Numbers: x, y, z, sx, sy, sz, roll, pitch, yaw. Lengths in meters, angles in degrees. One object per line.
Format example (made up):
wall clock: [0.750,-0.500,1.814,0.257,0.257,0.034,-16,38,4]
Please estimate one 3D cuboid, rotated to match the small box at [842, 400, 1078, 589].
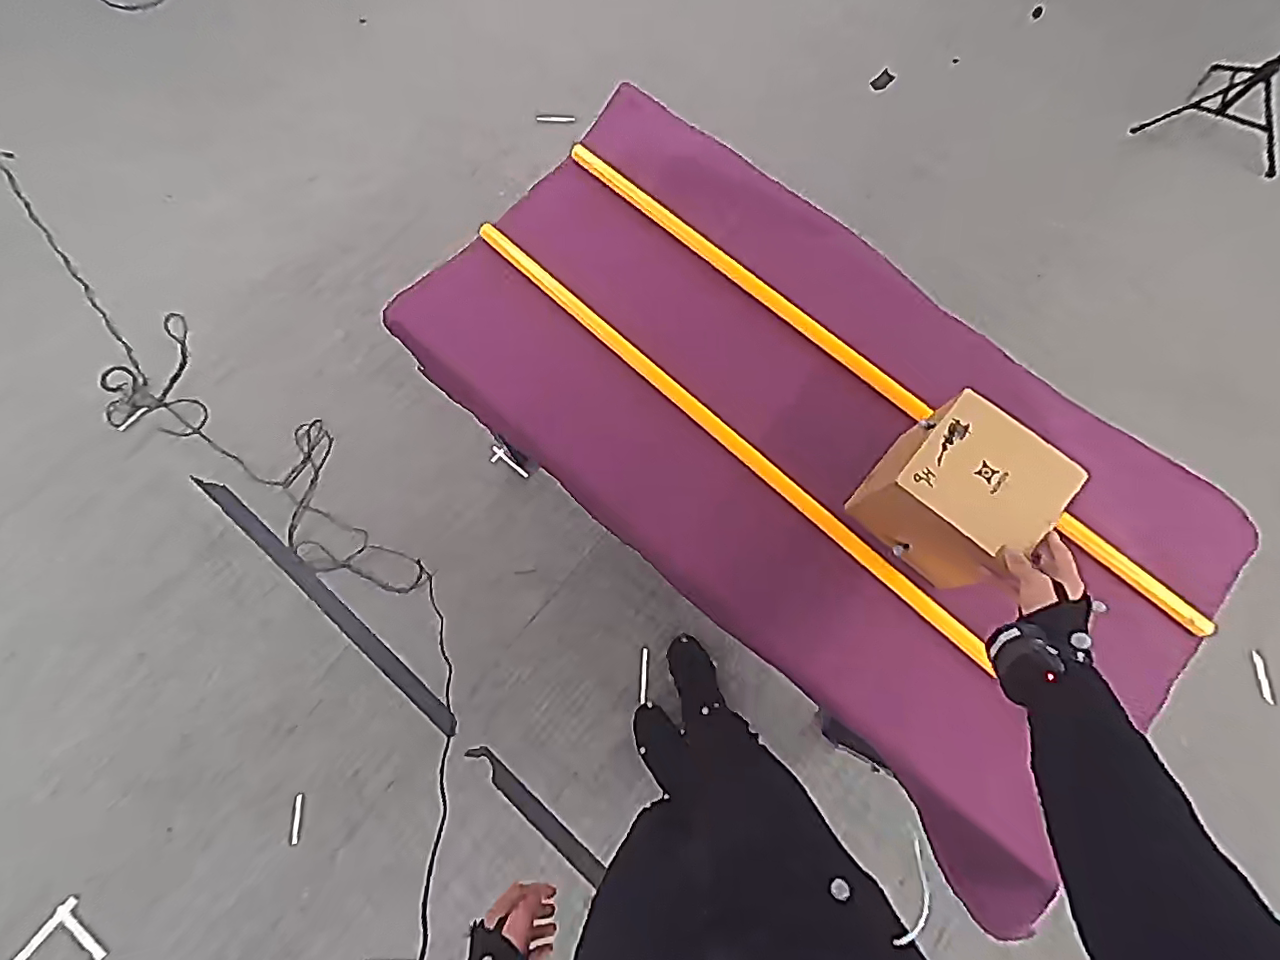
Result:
small box: [0.414,0.030,0.730,0.179,0.176,0.168,41,78,9]
